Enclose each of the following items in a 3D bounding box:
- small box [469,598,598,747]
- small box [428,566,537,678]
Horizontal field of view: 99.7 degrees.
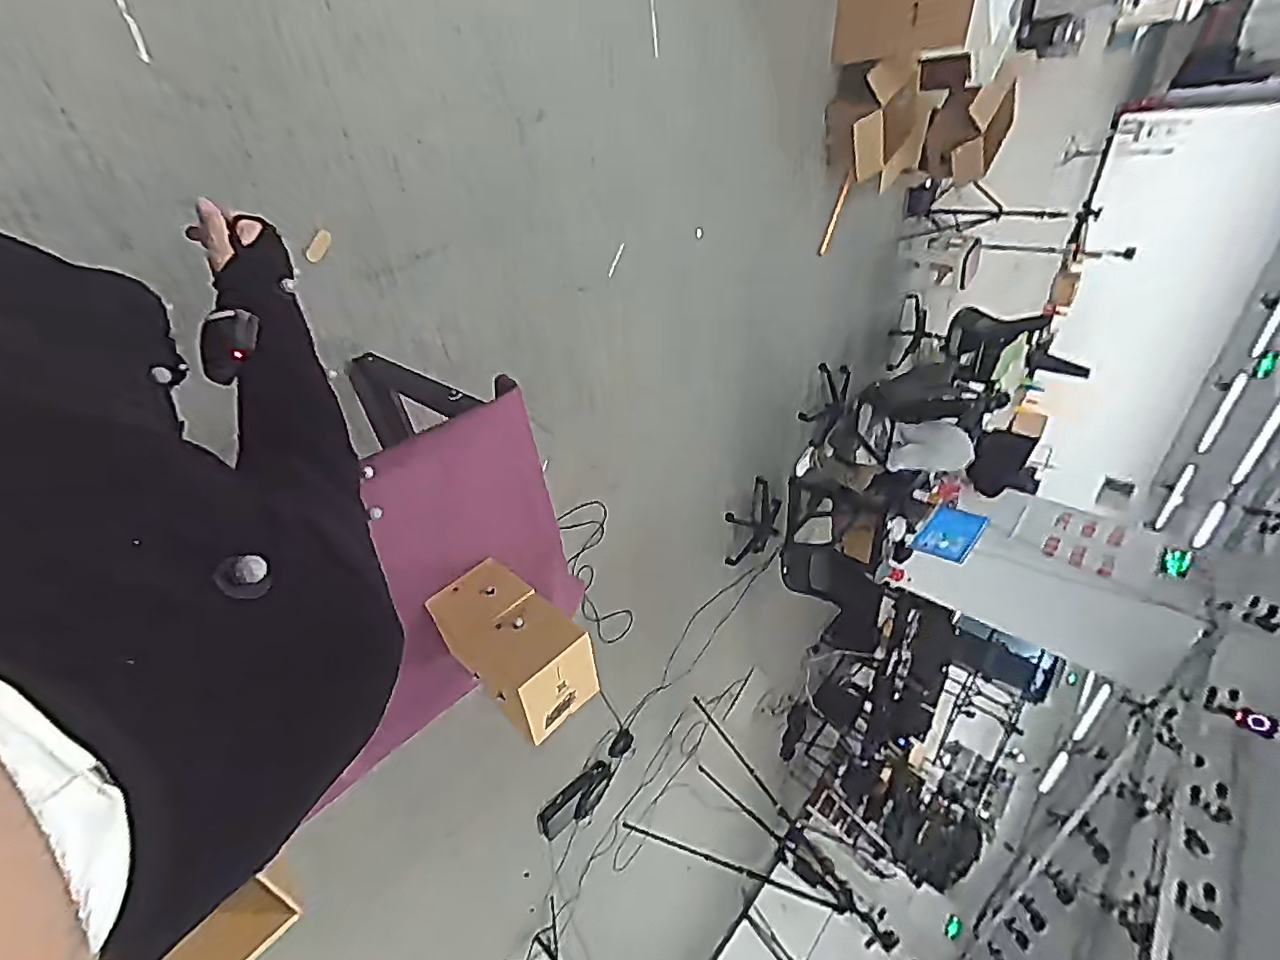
[{"bbox_3d":[-0.204,0.364,1.050,0.168,0.176,0.179,-33,131,-36],"label":"small box"},{"bbox_3d":[-0.320,0.305,1.152,0.168,0.176,0.179,-37,135,-33],"label":"small box"}]
